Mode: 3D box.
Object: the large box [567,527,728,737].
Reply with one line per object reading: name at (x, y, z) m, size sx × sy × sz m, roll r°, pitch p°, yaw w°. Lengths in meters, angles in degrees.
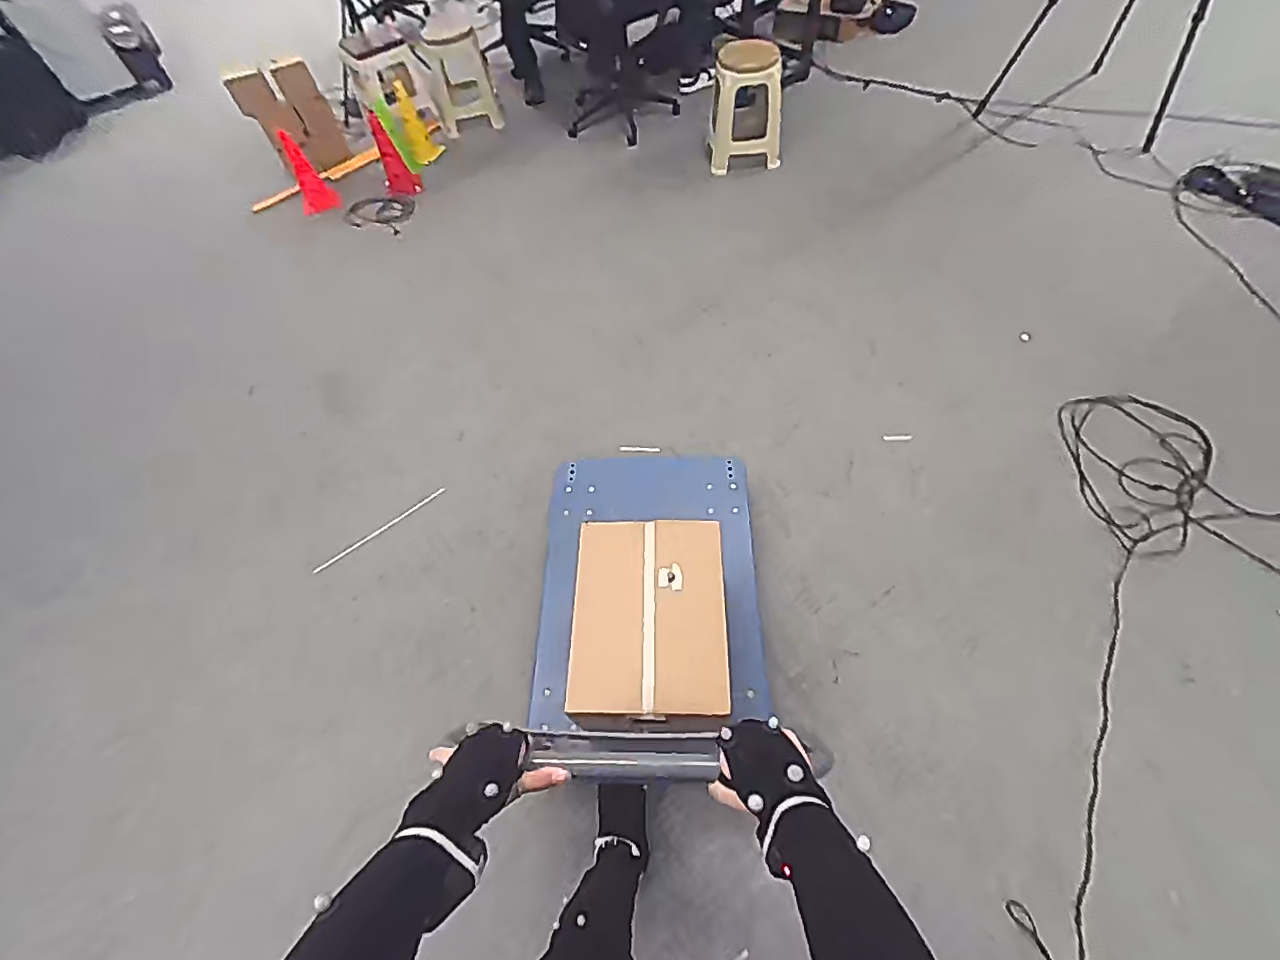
large box at (0.026, 0.359, 1.254) m, size 0.320 × 0.320 × 0.408 m, roll 0°, pitch 57°, yaw 3°
